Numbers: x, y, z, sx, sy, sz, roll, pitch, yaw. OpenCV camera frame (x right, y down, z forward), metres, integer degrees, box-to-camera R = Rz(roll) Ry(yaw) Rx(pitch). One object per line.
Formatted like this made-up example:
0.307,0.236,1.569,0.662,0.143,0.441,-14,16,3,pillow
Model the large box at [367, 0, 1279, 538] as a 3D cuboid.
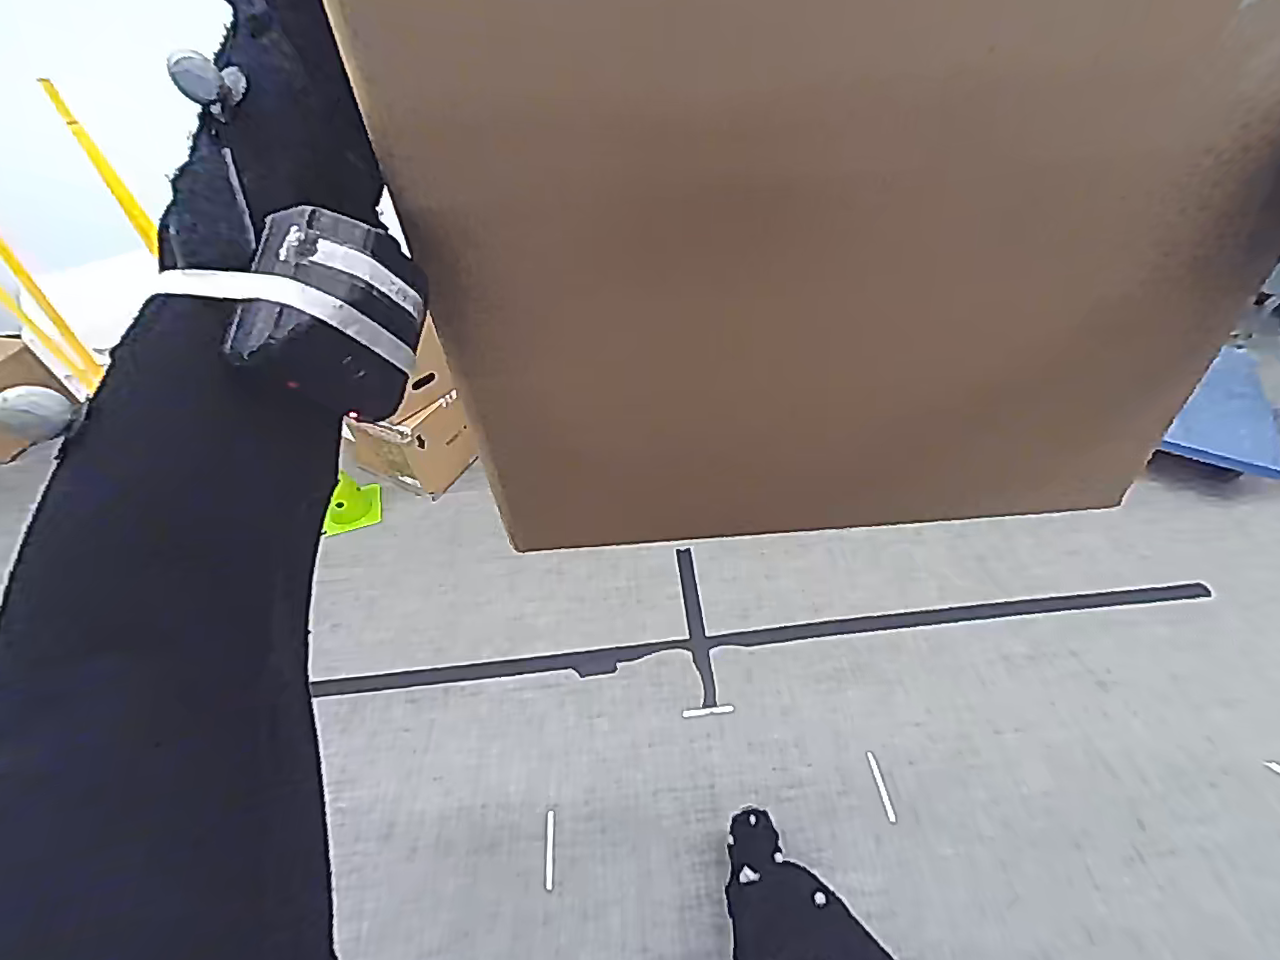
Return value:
0.094,-0.183,0.394,0.408,0.320,0.320,-5,40,0,large box
